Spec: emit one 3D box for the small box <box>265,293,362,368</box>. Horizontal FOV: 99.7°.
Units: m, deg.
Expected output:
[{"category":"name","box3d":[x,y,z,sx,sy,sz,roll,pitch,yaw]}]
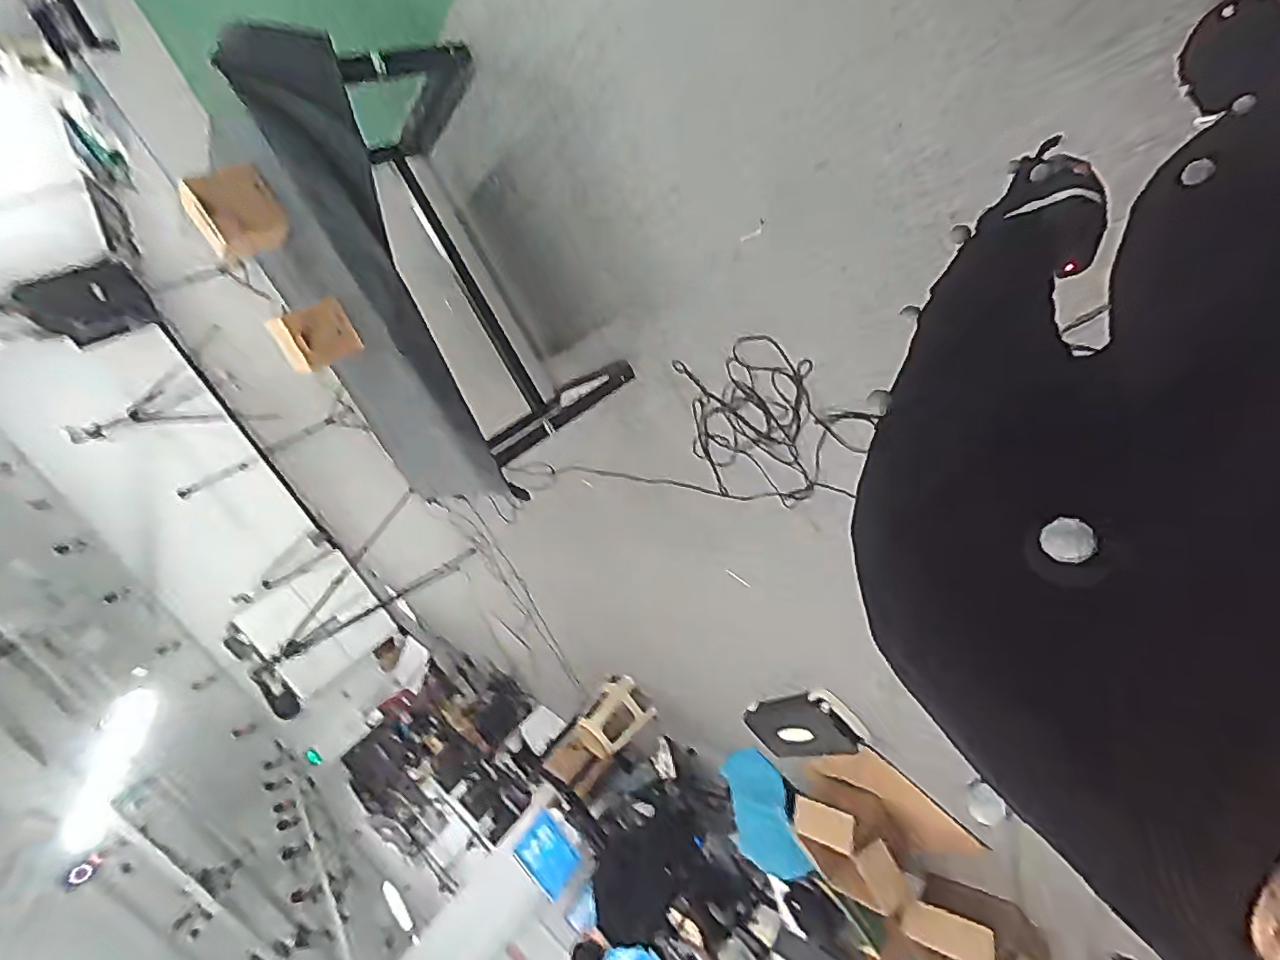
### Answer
[{"category":"small box","box3d":[-0.961,-0.442,1.602,0.179,0.176,0.168,11,129,43]}]
